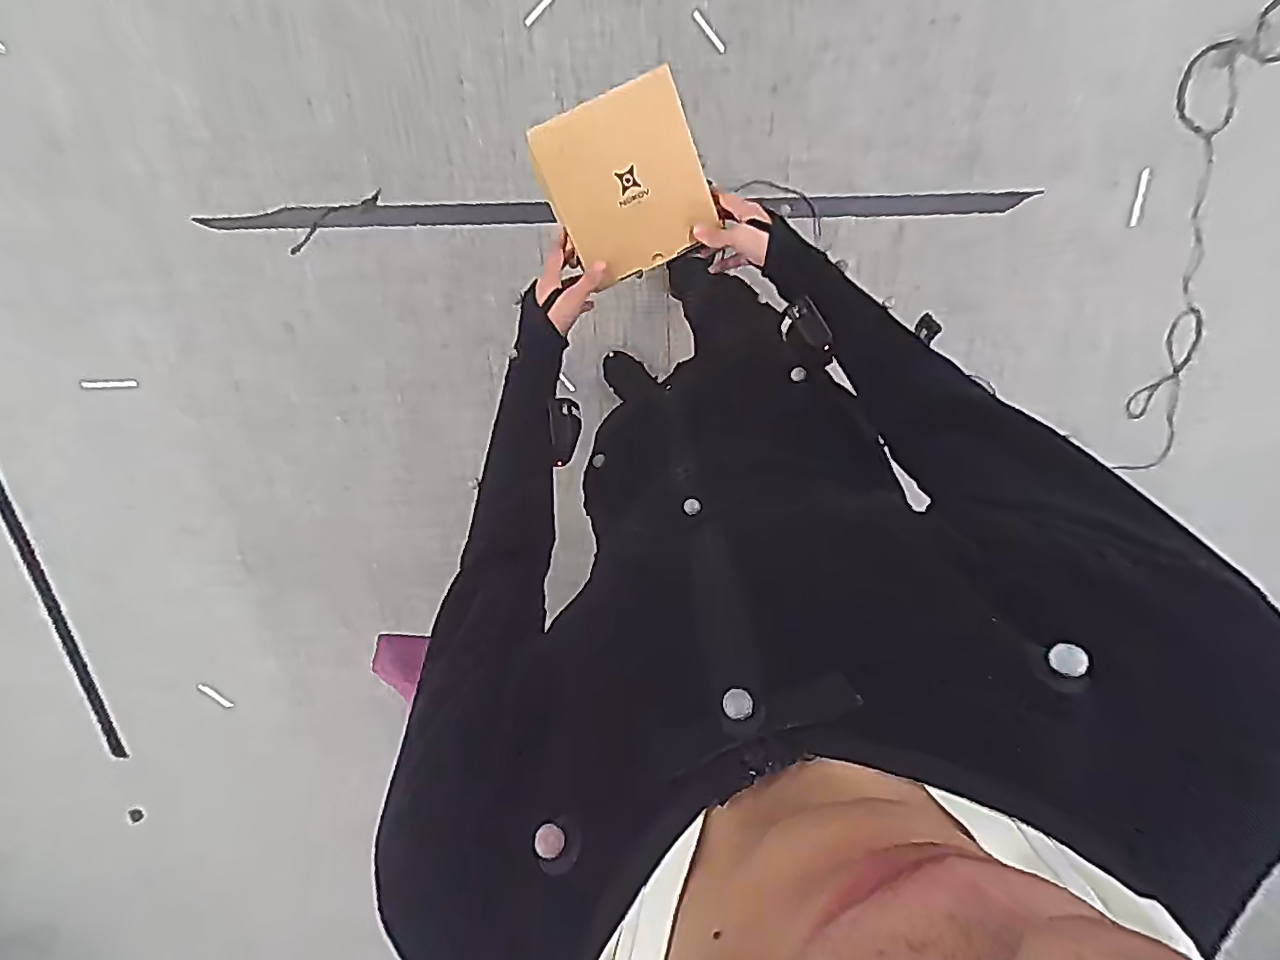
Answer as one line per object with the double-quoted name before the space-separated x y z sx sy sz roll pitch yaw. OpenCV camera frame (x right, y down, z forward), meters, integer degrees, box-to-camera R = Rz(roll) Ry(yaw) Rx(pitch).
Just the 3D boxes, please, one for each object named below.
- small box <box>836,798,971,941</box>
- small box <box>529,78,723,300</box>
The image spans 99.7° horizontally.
"small box" 0.508 0.762 1.071 0.168 0.176 0.179 4 108 -3
"small box" -0.022 -0.338 0.664 0.168 0.176 0.179 -25 113 2
